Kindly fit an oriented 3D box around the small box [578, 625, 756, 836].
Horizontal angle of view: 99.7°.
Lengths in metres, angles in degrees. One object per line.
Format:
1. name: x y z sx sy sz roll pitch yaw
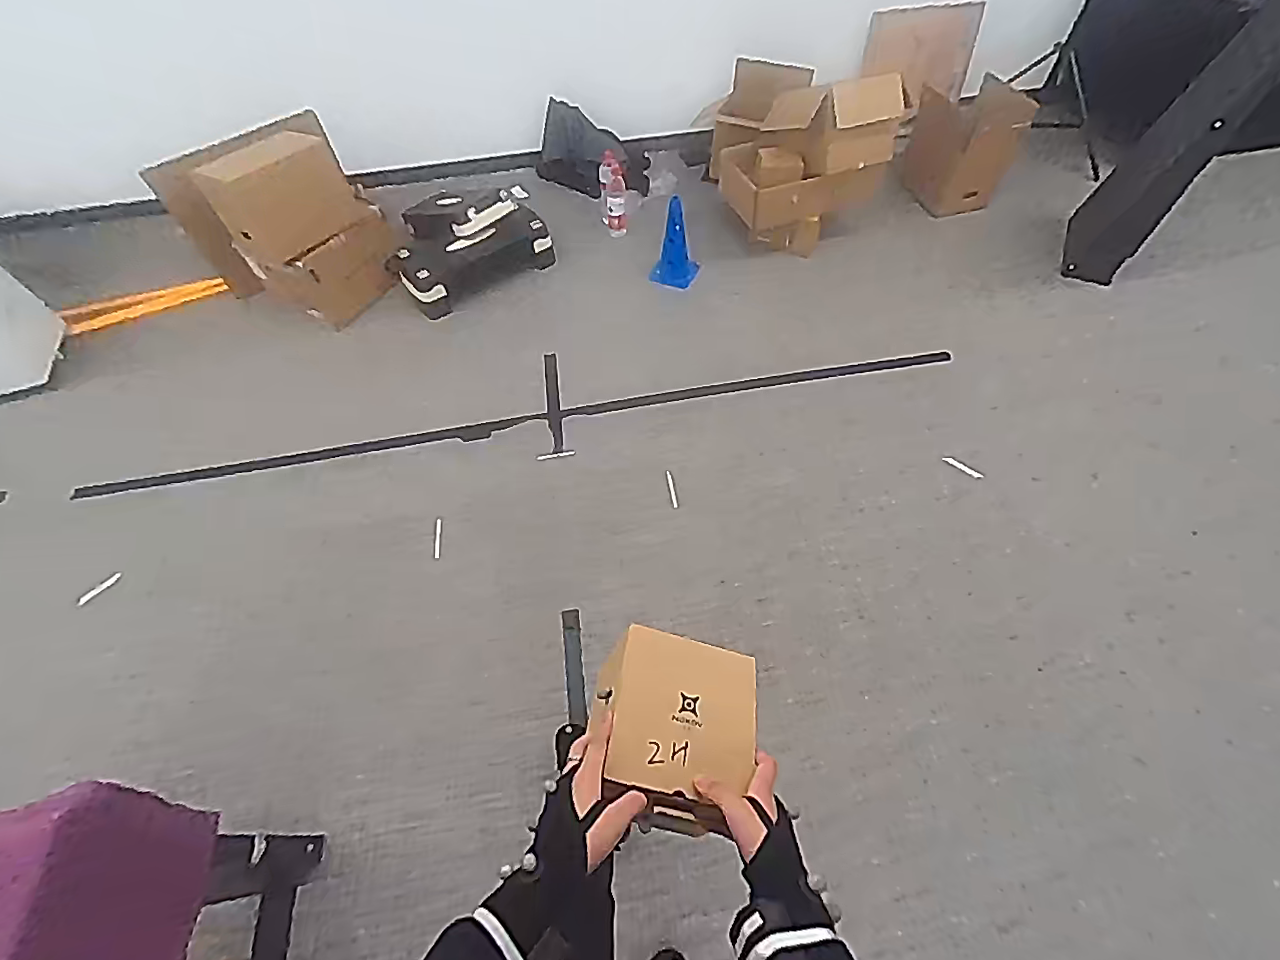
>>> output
1. small box: 0.031 0.310 0.663 0.168 0.176 0.179 17 49 -5
